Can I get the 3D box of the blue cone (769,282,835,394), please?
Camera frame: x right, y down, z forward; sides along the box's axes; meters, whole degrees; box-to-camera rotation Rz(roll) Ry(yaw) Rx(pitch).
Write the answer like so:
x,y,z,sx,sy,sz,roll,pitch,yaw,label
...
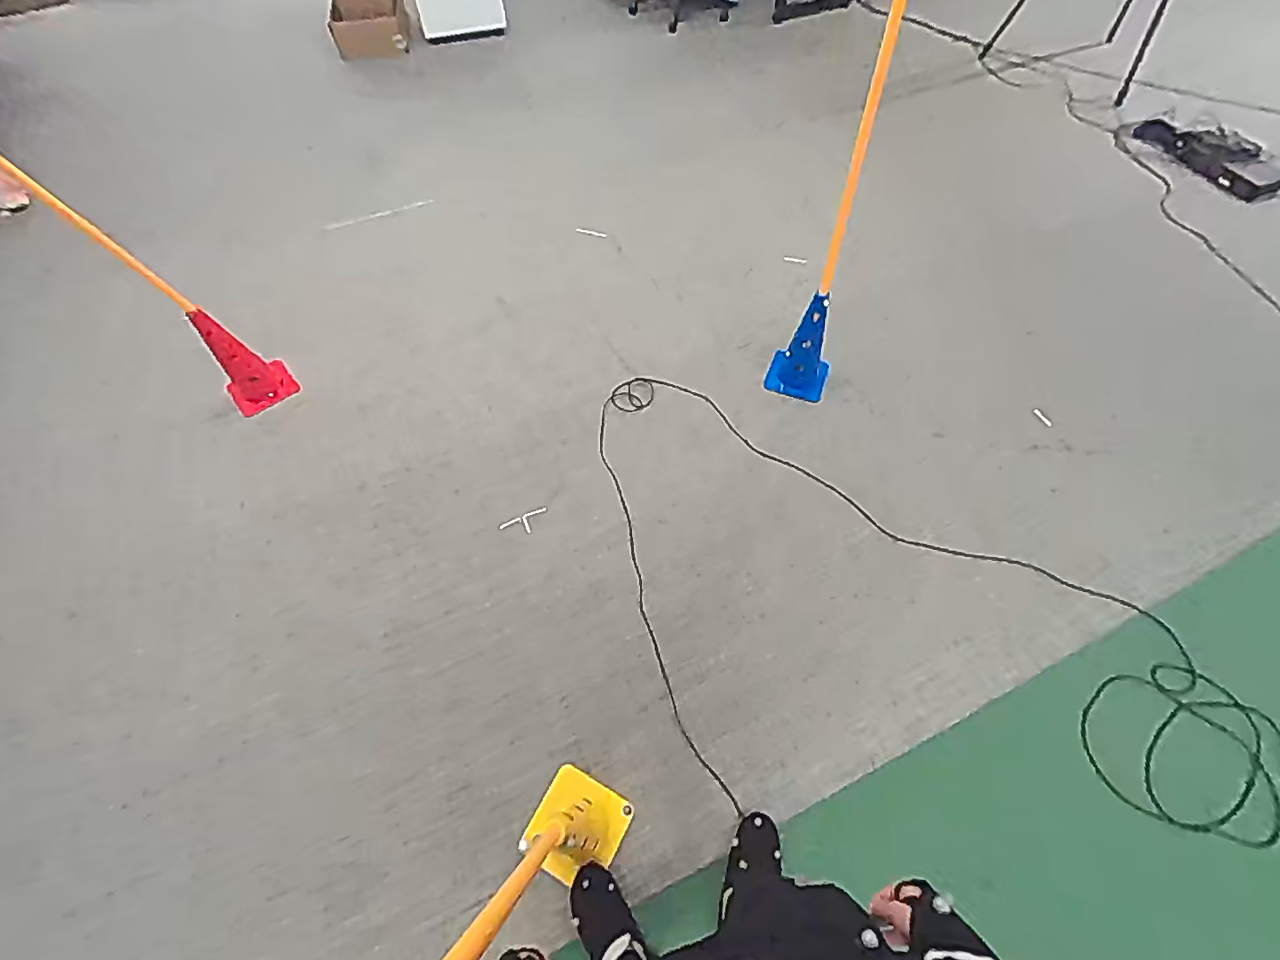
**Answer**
x,y,z,sx,sy,sz,roll,pitch,yaw,label
0.556,-0.477,1.764,0.192,0.380,0.193,17,59,12,blue cone
